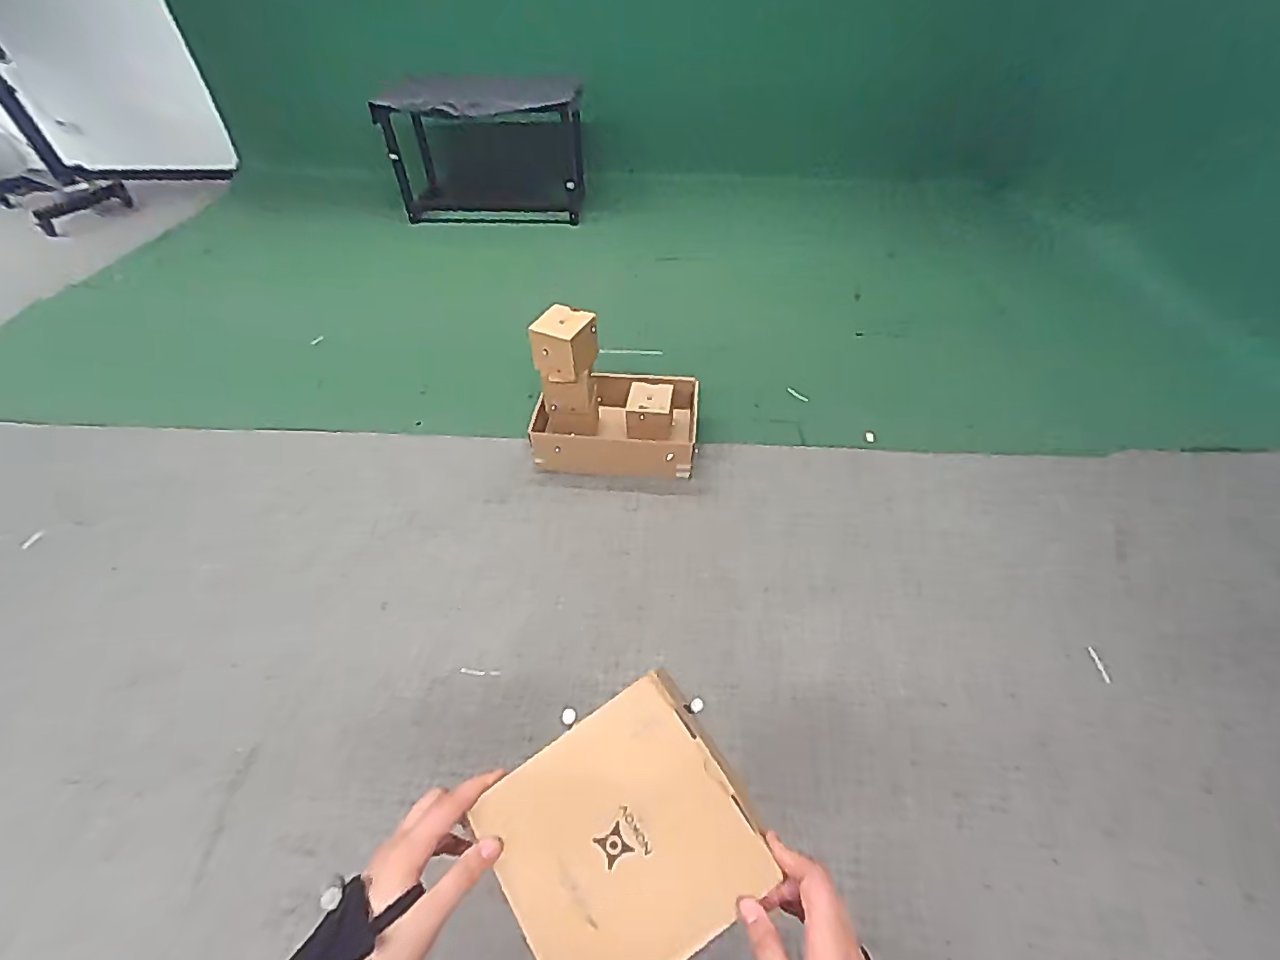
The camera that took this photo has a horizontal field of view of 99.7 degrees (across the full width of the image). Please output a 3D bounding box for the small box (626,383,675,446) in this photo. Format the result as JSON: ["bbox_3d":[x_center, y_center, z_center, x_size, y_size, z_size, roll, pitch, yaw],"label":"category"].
[{"bbox_3d":[0.041,-0.257,2.117,0.168,0.176,0.179,6,47,7],"label":"small box"}]

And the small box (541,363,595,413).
[{"bbox_3d":[-0.258,-0.365,1.992,0.168,0.176,0.179,4,46,2],"label":"small box"}]

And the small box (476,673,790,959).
[{"bbox_3d":[-0.002,0.284,0.465,0.179,0.176,0.168,-35,72,-5],"label":"small box"}]

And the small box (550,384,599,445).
[{"bbox_3d":[-0.252,-0.260,2.118,0.168,0.176,0.179,2,47,2],"label":"small box"}]

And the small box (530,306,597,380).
[{"bbox_3d":[-0.256,-0.472,1.869,0.168,0.176,0.179,20,49,17],"label":"small box"}]
